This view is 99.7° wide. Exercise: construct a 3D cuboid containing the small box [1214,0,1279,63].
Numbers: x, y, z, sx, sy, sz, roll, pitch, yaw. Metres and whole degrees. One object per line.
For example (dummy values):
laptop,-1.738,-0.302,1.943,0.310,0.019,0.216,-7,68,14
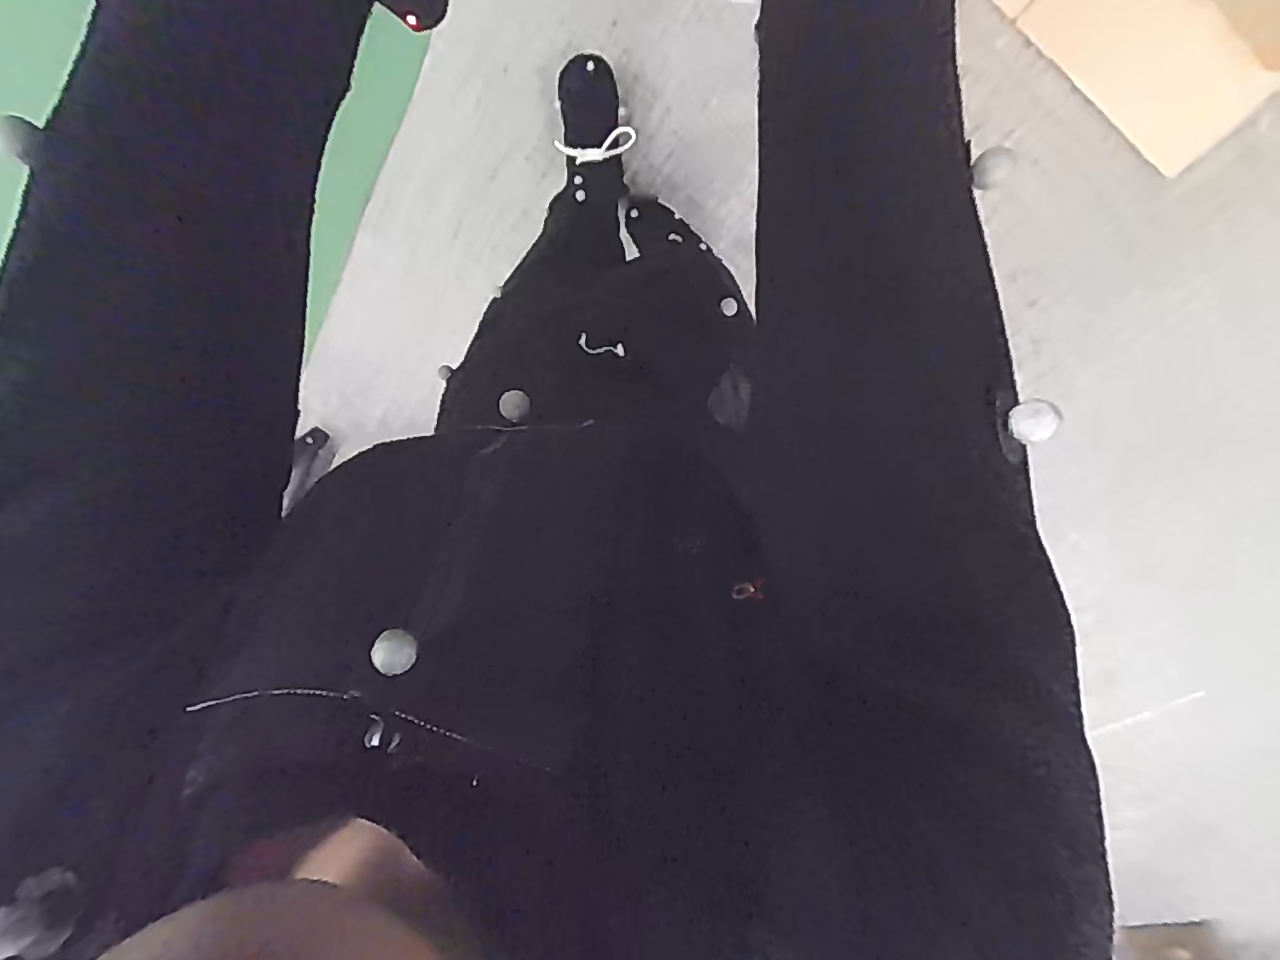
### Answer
small box,0.953,-0.706,0.729,0.179,0.176,0.168,36,122,-11
